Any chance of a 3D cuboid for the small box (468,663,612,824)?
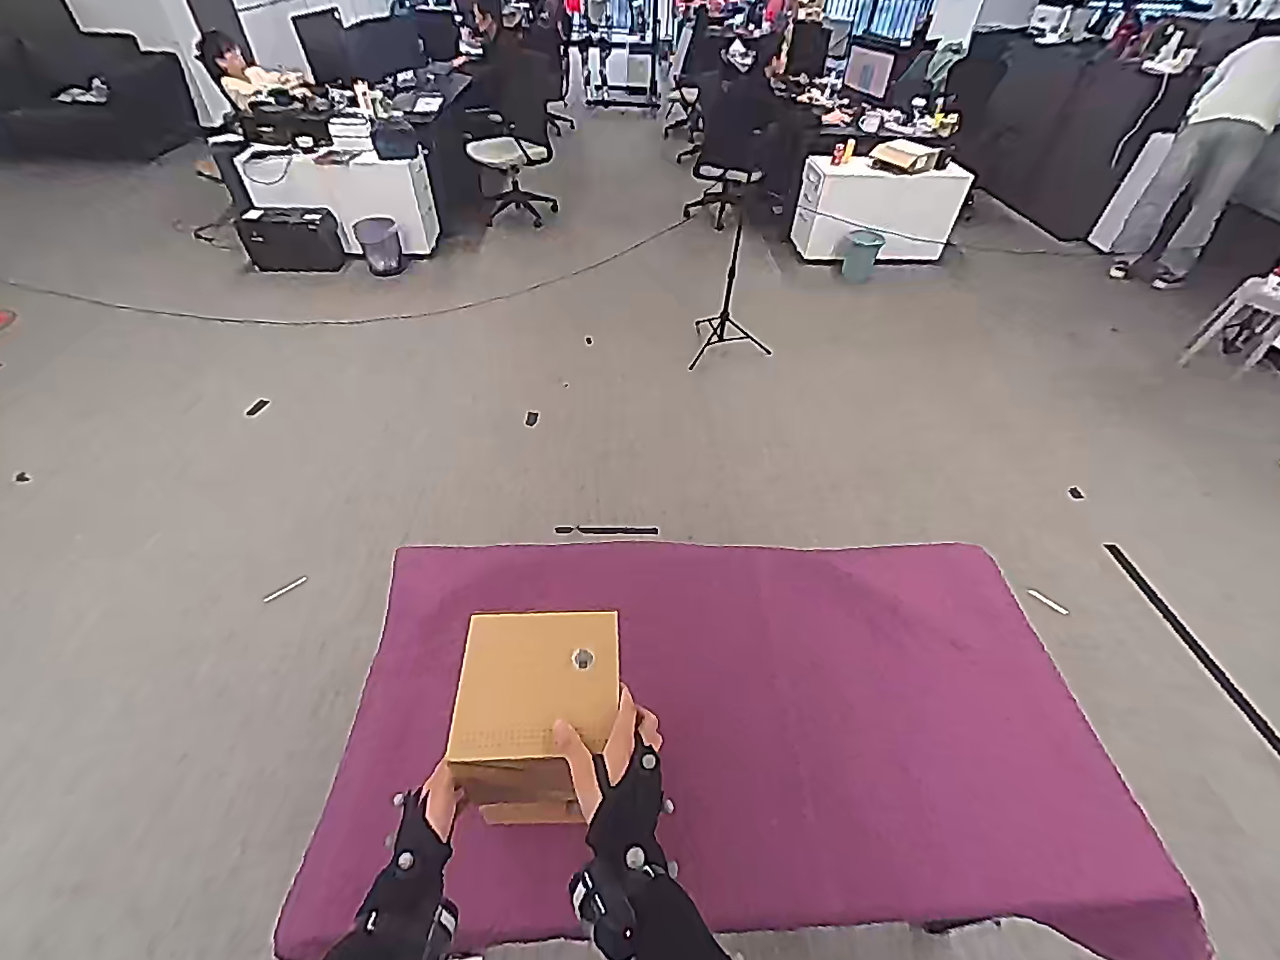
[{"bbox_3d":[-0.132,0.382,0.783,0.179,0.176,0.168,1,45,-2],"label":"small box"}]
